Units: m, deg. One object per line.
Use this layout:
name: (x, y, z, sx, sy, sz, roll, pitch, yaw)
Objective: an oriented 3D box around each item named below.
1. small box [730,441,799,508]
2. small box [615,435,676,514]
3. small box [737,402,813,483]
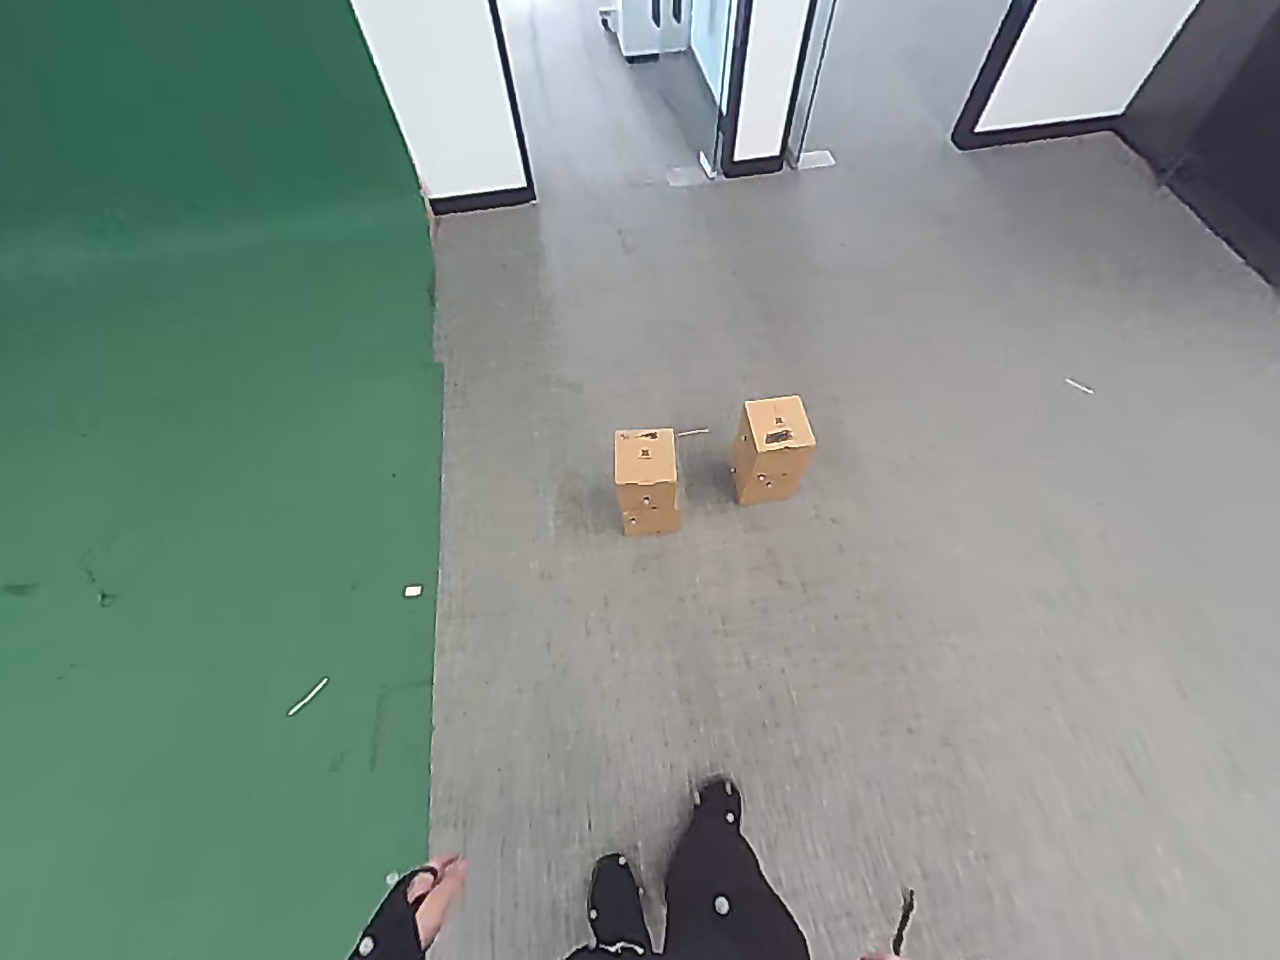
small box: (0.391, -0.023, 1.729, 0.179, 0.176, 0.168, -8, 60, -3)
small box: (0.017, -0.009, 1.544, 0.168, 0.176, 0.179, -2, 60, 0)
small box: (0.390, -0.103, 1.586, 0.168, 0.176, 0.179, -7, 59, -2)
